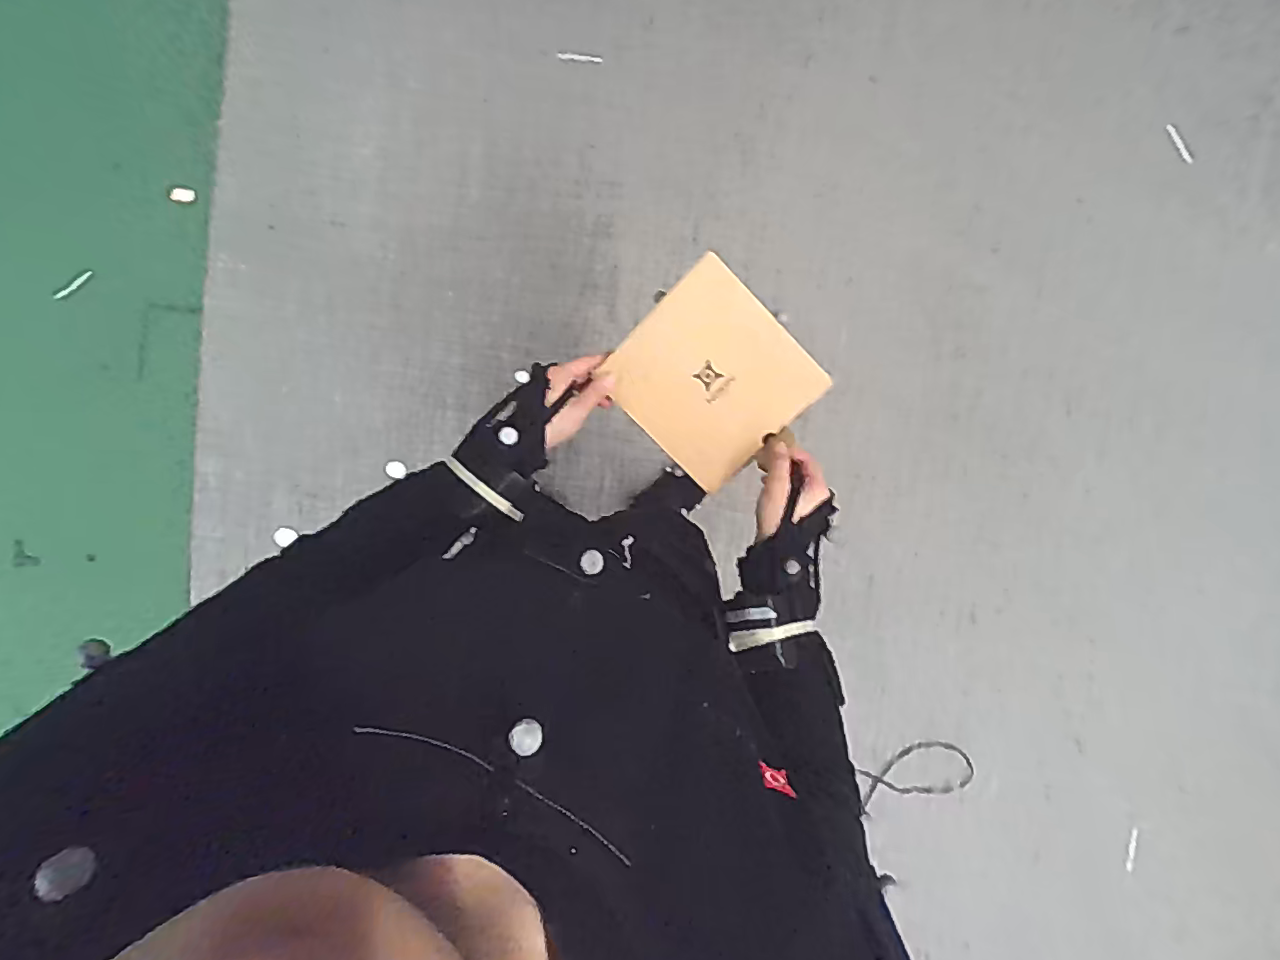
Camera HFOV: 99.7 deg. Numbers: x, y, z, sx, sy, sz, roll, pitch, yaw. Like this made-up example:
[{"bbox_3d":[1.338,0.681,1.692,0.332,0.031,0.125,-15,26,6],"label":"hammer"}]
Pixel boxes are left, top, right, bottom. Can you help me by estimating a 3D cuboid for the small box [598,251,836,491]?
[{"bbox_3d":[0.077,-0.118,0.605,0.179,0.176,0.168,43,103,-8],"label":"small box"}]
